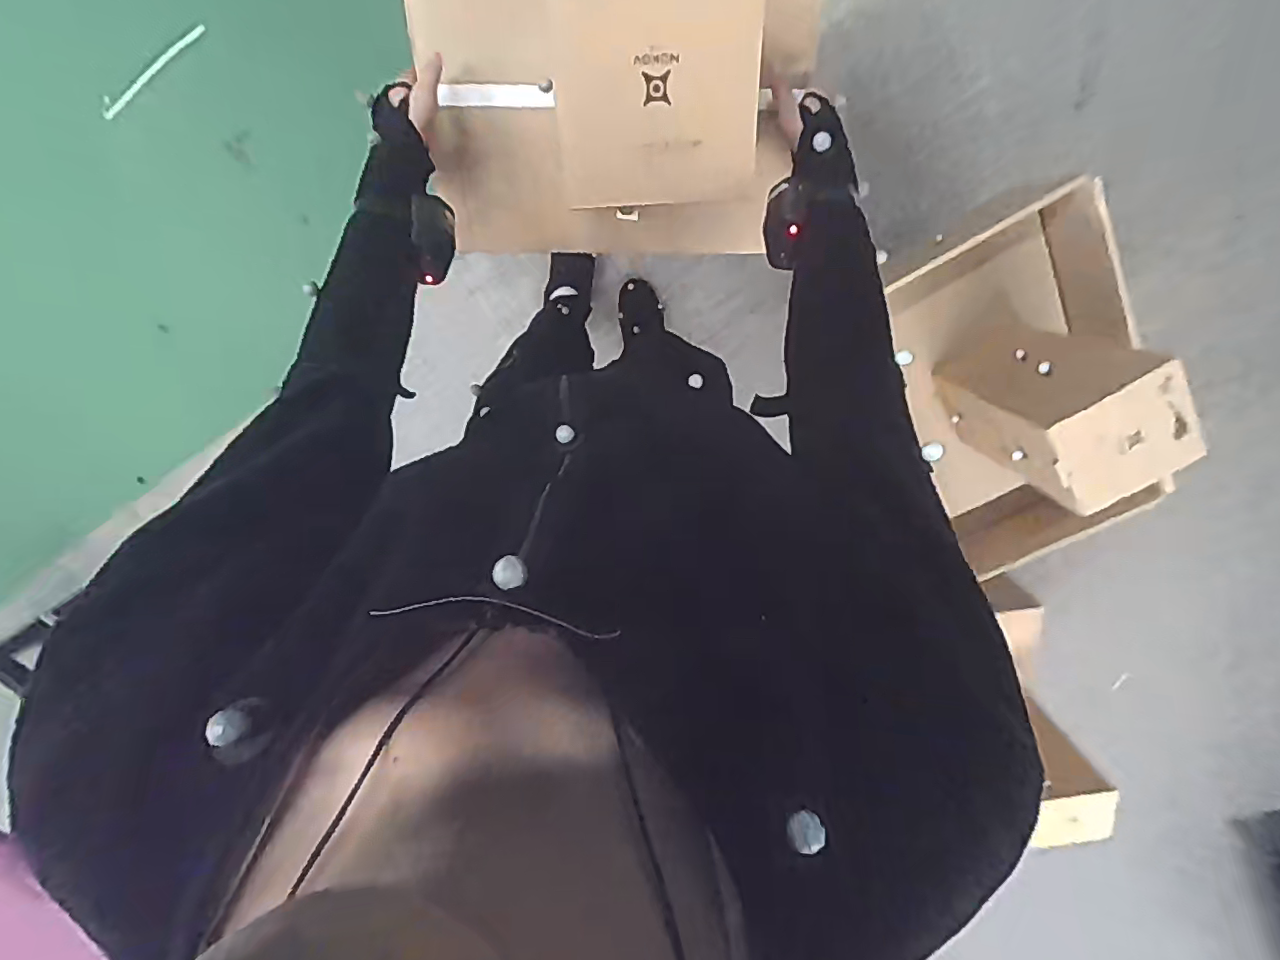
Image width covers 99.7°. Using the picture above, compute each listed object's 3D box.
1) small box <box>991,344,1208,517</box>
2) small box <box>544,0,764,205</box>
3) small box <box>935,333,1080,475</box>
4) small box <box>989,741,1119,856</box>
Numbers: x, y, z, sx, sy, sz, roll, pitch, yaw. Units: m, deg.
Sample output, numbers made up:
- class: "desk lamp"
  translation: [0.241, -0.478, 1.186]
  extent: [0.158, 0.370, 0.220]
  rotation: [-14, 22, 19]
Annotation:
- class: "small box"
  translation: [0.667, -0.080, 0.811]
  extent: [0.179, 0.176, 0.168]
  rotation: [-32, 110, 14]
- class: "small box"
  translation: [0.008, -0.357, 0.487]
  extent: [0.168, 0.176, 0.179]
  rotation: [-3, 124, 0]
- class: "small box"
  translation: [0.671, -0.143, 0.962]
  extent: [0.179, 0.176, 0.168]
  rotation: [-29, 109, 13]
- class: "small box"
  translation: [0.972, 0.749, 1.285]
  extent: [0.179, 0.176, 0.168]
  rotation: [-11, 113, 5]
